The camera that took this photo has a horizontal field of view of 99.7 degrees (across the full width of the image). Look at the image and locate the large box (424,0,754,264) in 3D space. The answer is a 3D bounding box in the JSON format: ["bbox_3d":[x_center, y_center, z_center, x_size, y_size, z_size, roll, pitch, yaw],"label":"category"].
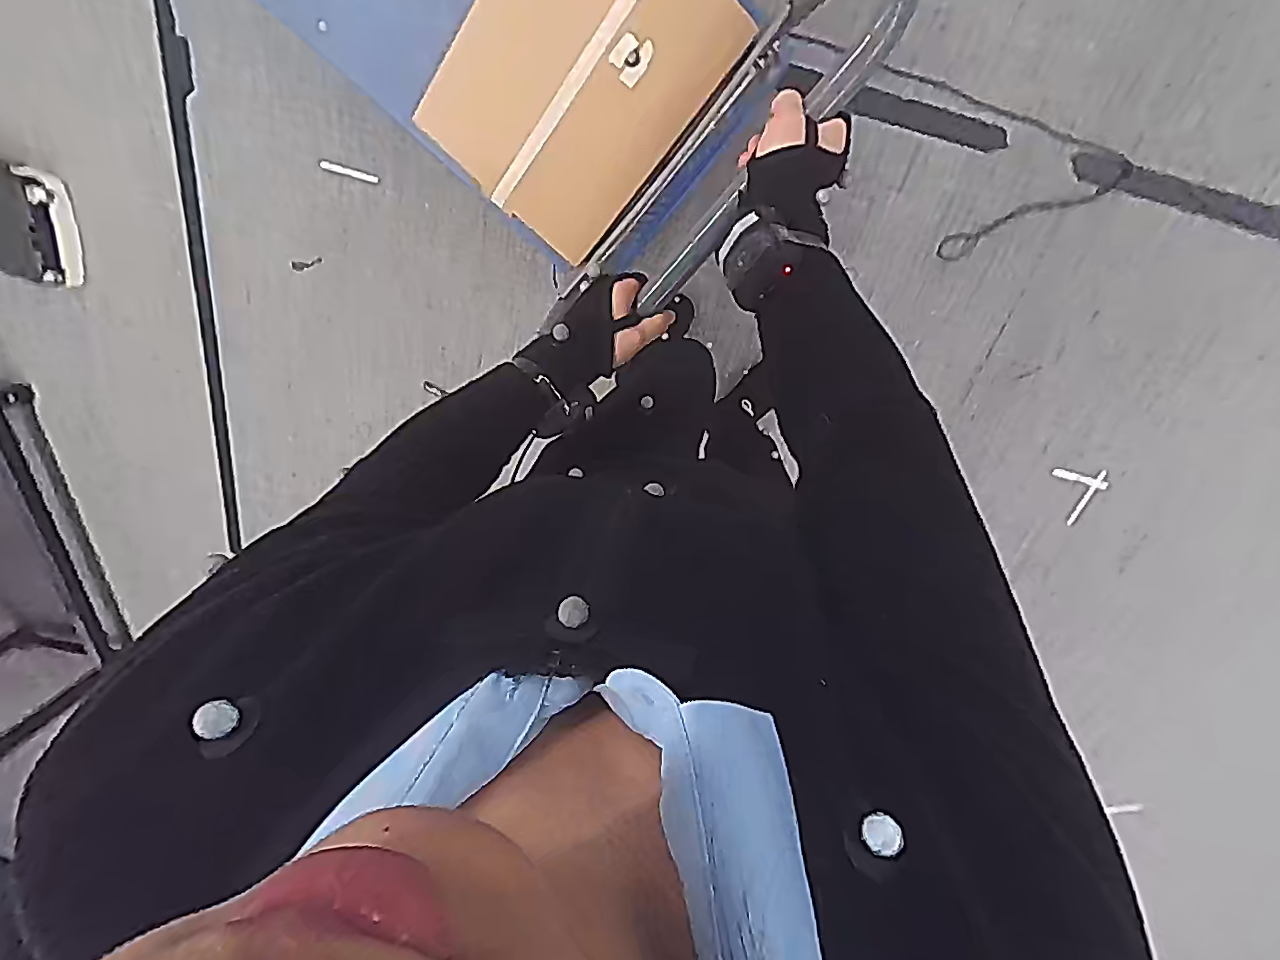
[{"bbox_3d":[-0.075,-0.637,0.898,0.320,0.320,0.408,38,114,-17],"label":"large box"}]
